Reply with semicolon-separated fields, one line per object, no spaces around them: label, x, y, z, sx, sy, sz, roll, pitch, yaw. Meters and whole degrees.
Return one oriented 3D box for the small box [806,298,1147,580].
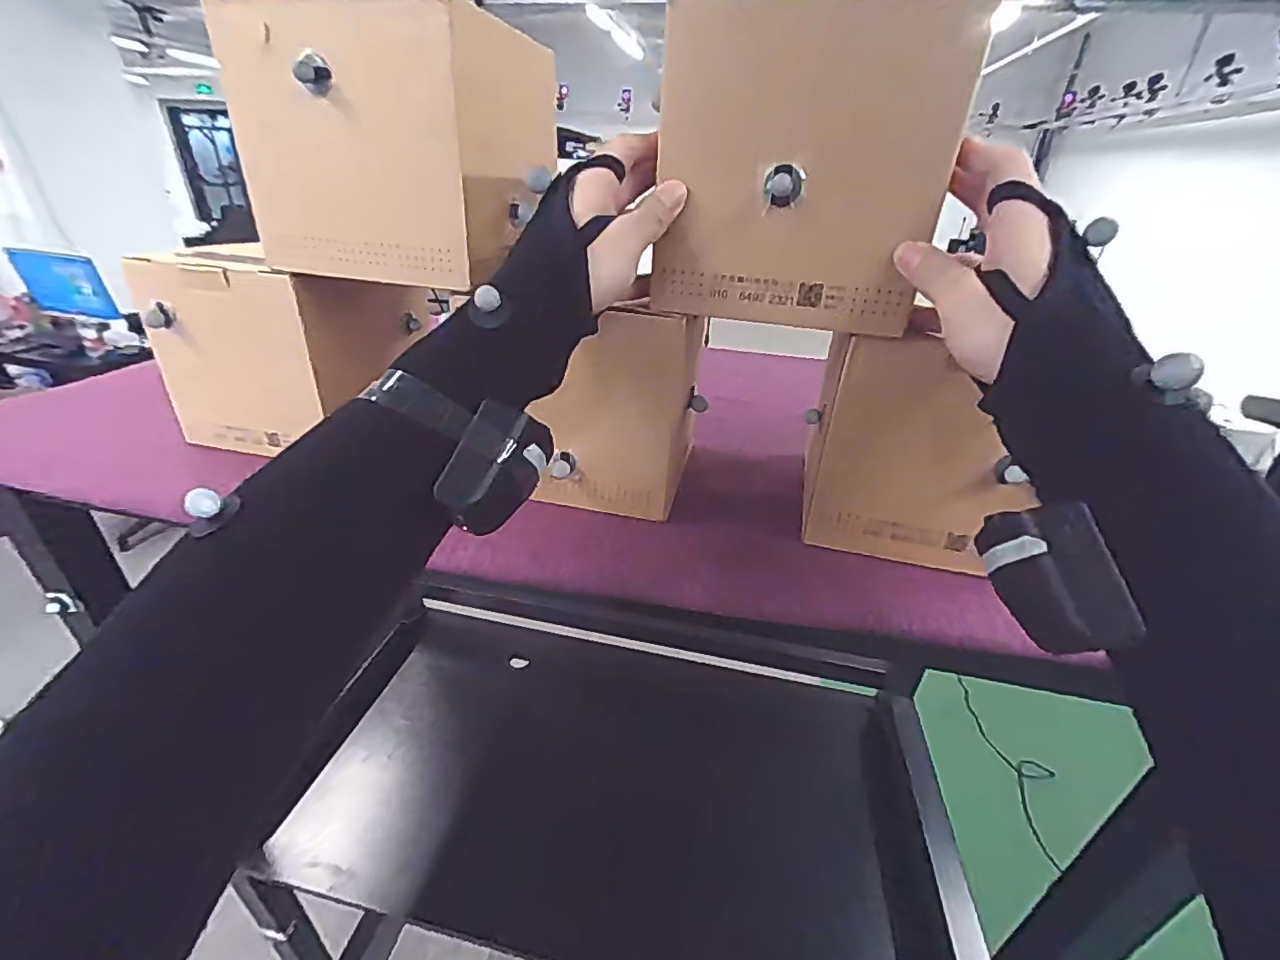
small box;0.234;-0.045;0.434;0.168;0.176;0.179;11;29;13

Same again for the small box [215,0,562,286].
small box;-0.173;-0.254;0.428;0.179;0.176;0.168;11;29;11

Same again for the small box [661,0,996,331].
small box;0.114;-0.210;0.381;0.168;0.176;0.179;11;30;13
